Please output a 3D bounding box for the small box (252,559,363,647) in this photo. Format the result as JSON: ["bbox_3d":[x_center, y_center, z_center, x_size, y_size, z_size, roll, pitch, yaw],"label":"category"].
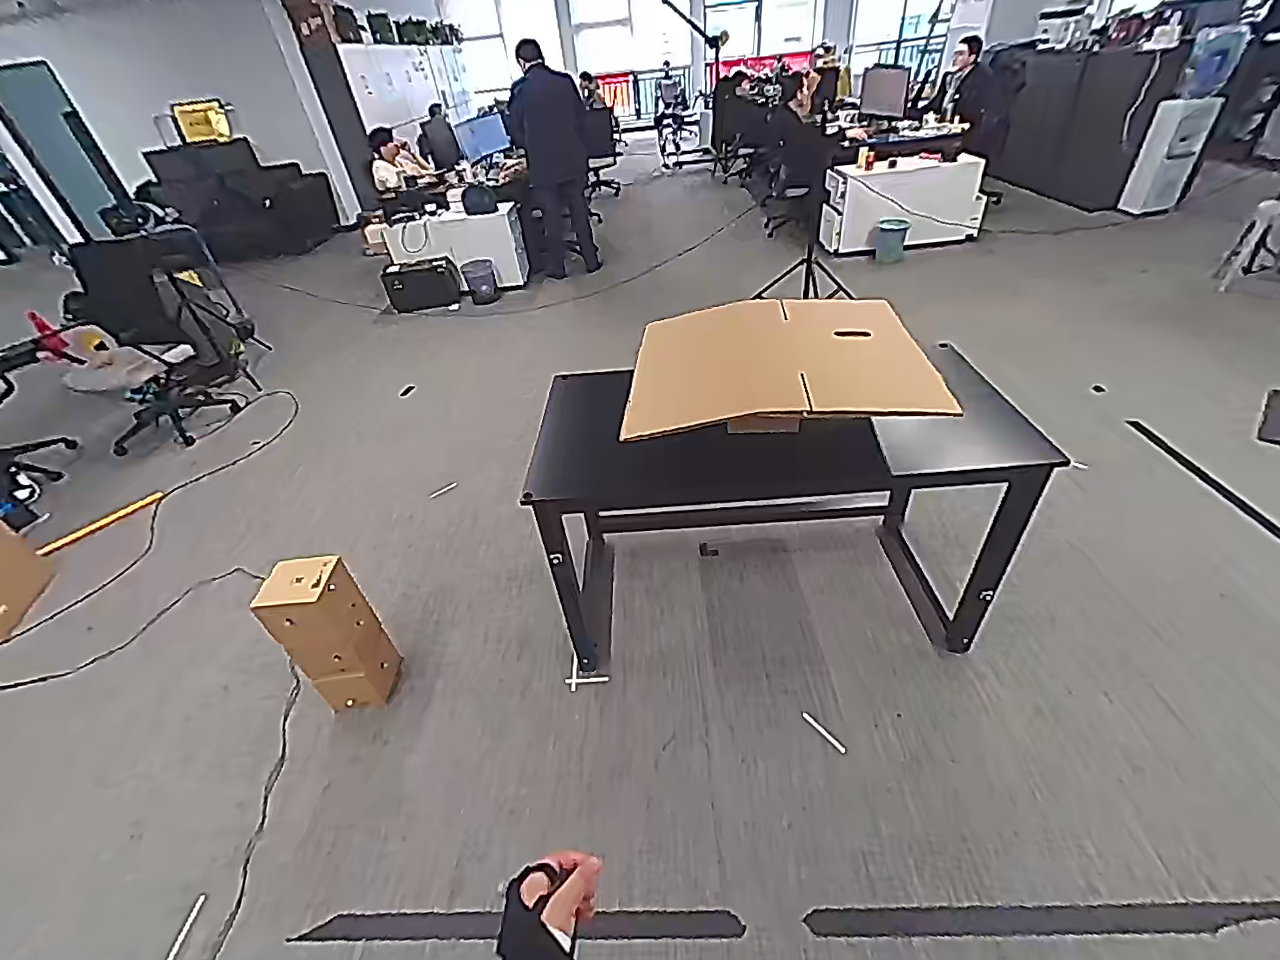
[{"bbox_3d":[-0.910,0.344,1.499,0.179,0.176,0.168,-7,38,0],"label":"small box"}]

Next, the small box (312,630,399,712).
[{"bbox_3d":[-0.880,0.600,1.697,0.168,0.176,0.179,-7,39,1],"label":"small box"}]

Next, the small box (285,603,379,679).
[{"bbox_3d":[-0.899,0.470,1.602,0.168,0.176,0.179,-8,37,-3],"label":"small box"}]
